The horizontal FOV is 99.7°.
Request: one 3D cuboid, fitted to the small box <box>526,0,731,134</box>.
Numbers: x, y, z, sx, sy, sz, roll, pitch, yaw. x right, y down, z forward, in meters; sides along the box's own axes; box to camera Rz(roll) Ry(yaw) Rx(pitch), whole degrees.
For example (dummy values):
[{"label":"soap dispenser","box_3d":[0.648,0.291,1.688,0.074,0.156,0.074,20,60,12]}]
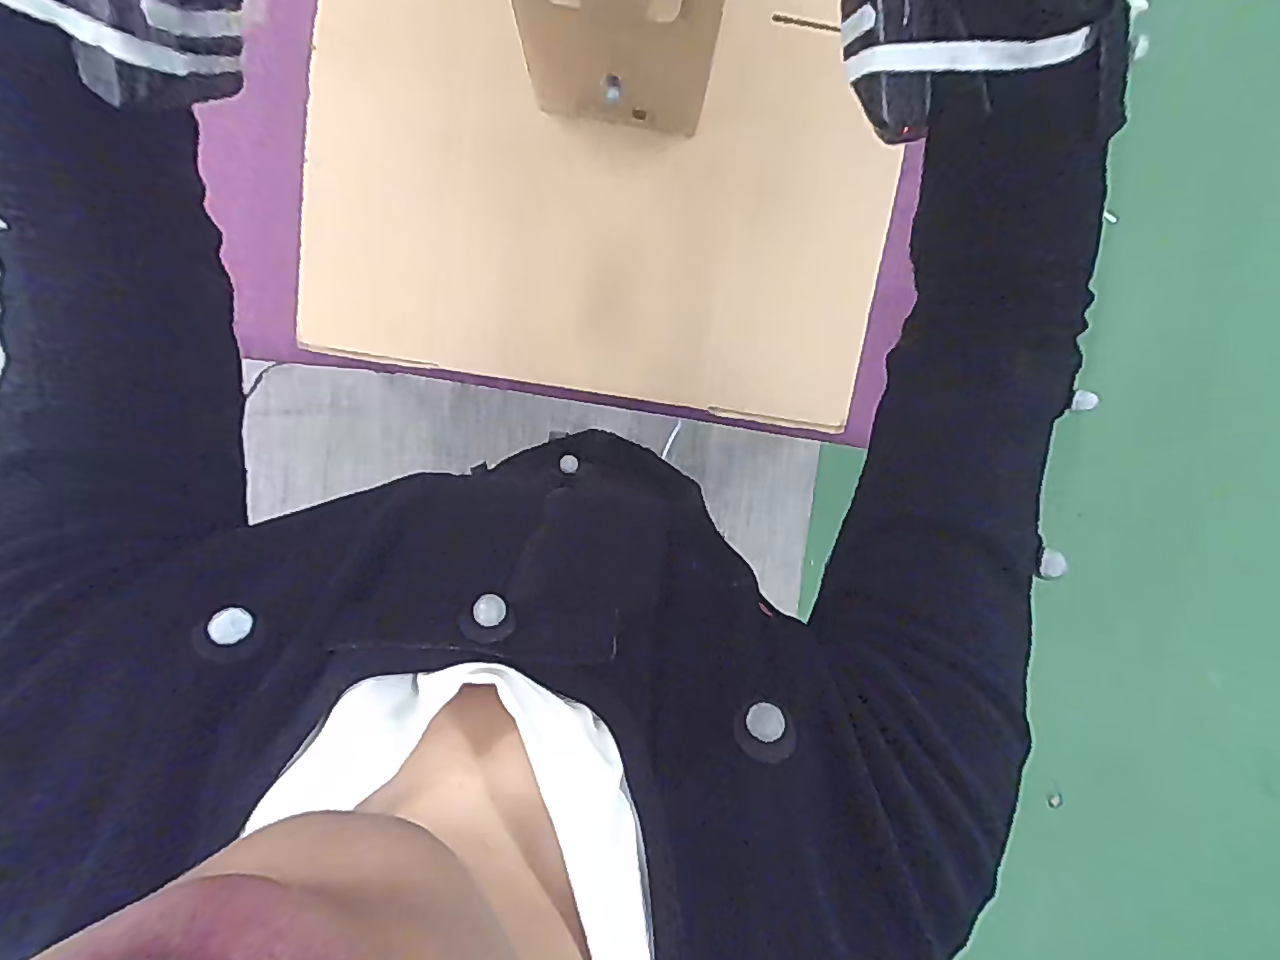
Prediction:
[{"label":"small box","box_3d":[-0.004,-0.445,0.464,0.168,0.176,0.179,9,92,-2]}]
